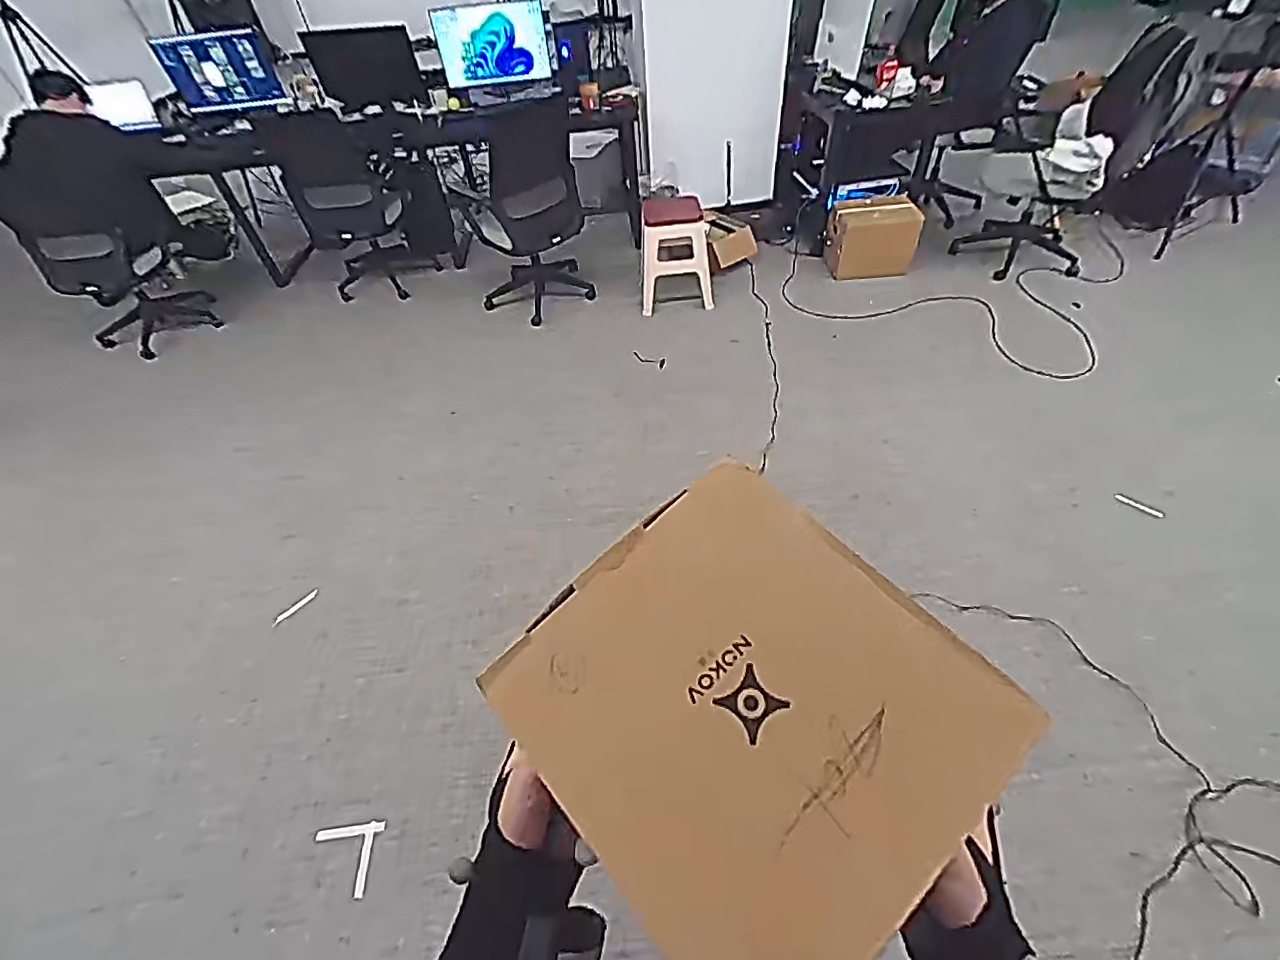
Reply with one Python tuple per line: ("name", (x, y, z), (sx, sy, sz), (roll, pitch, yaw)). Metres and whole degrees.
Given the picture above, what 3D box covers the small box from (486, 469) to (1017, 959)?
("small box", (0.050, 0.133, 0.310), (0.168, 0.176, 0.179), (-42, 66, -14))
